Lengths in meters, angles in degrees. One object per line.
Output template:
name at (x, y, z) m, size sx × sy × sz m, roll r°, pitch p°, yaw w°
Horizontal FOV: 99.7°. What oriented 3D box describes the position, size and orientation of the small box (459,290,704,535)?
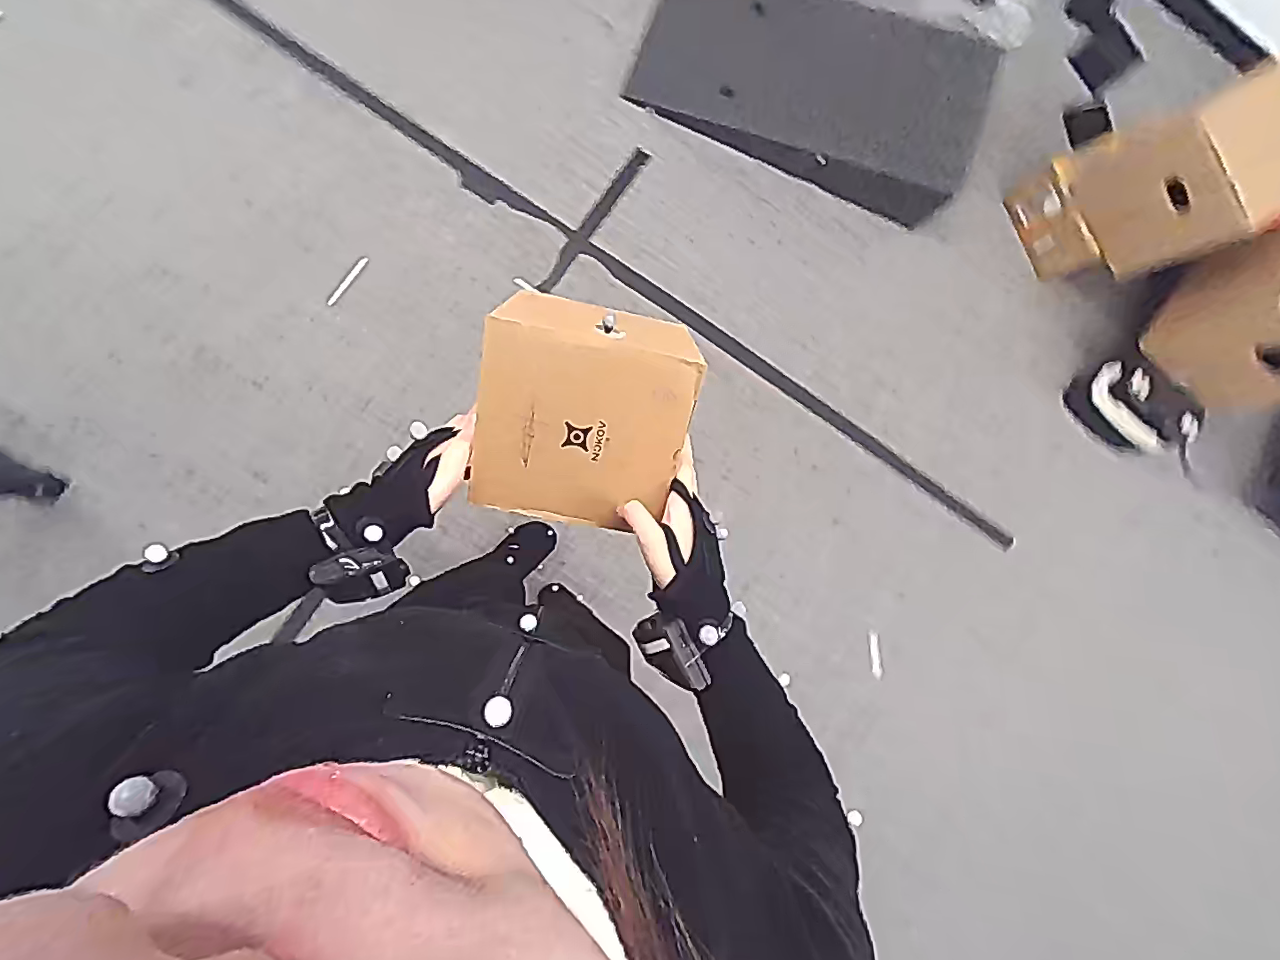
small box at (-0.055, -0.072, 0.506) m, size 0.179 × 0.176 × 0.168 m, roll 10°, pitch 115°, yaw -7°
